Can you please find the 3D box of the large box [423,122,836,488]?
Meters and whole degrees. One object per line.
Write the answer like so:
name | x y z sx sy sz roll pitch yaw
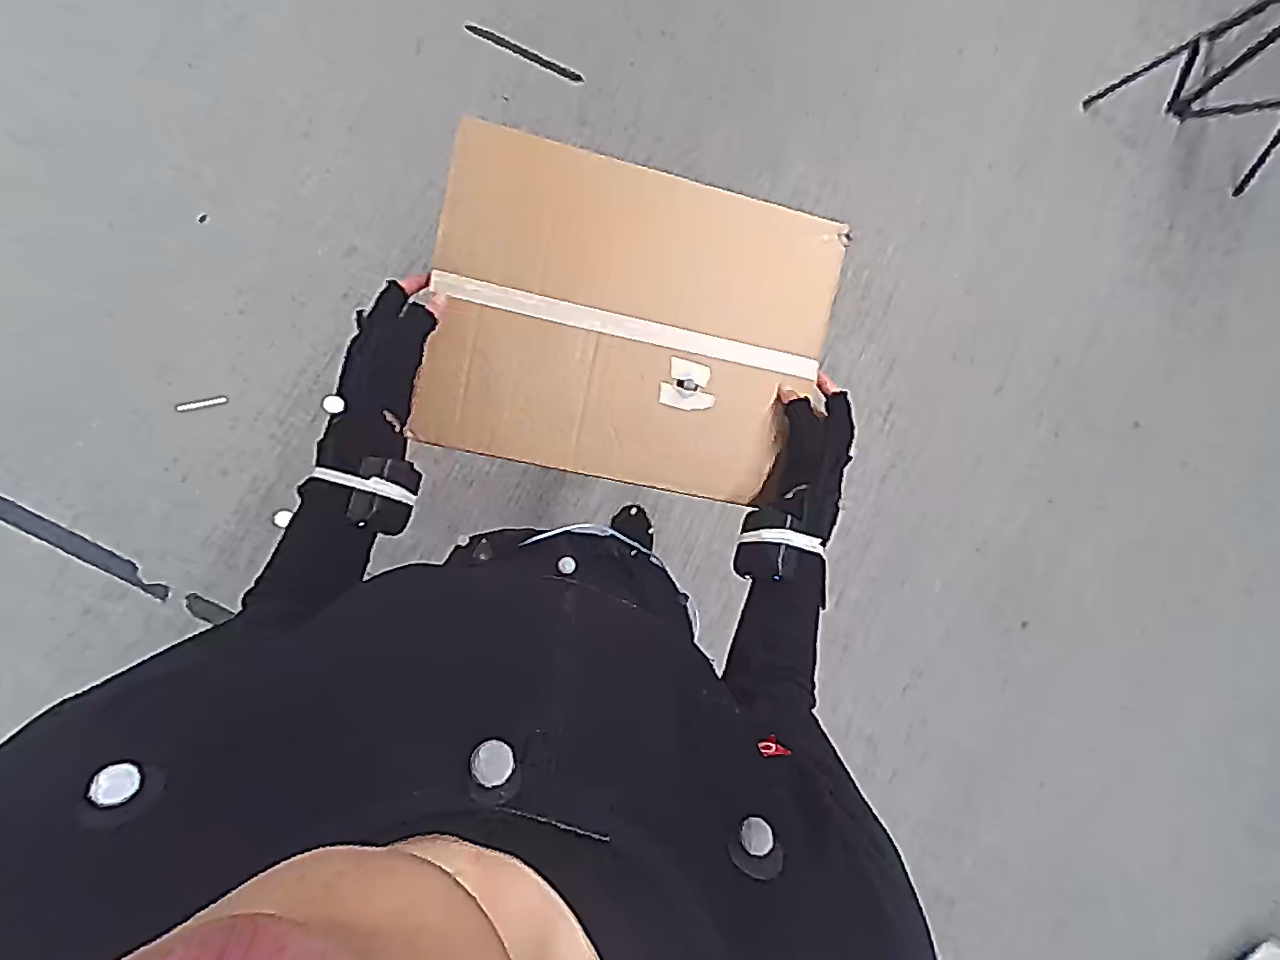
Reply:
large box | -0.026 -0.186 0.716 0.408 0.320 0.320 11 95 -9
